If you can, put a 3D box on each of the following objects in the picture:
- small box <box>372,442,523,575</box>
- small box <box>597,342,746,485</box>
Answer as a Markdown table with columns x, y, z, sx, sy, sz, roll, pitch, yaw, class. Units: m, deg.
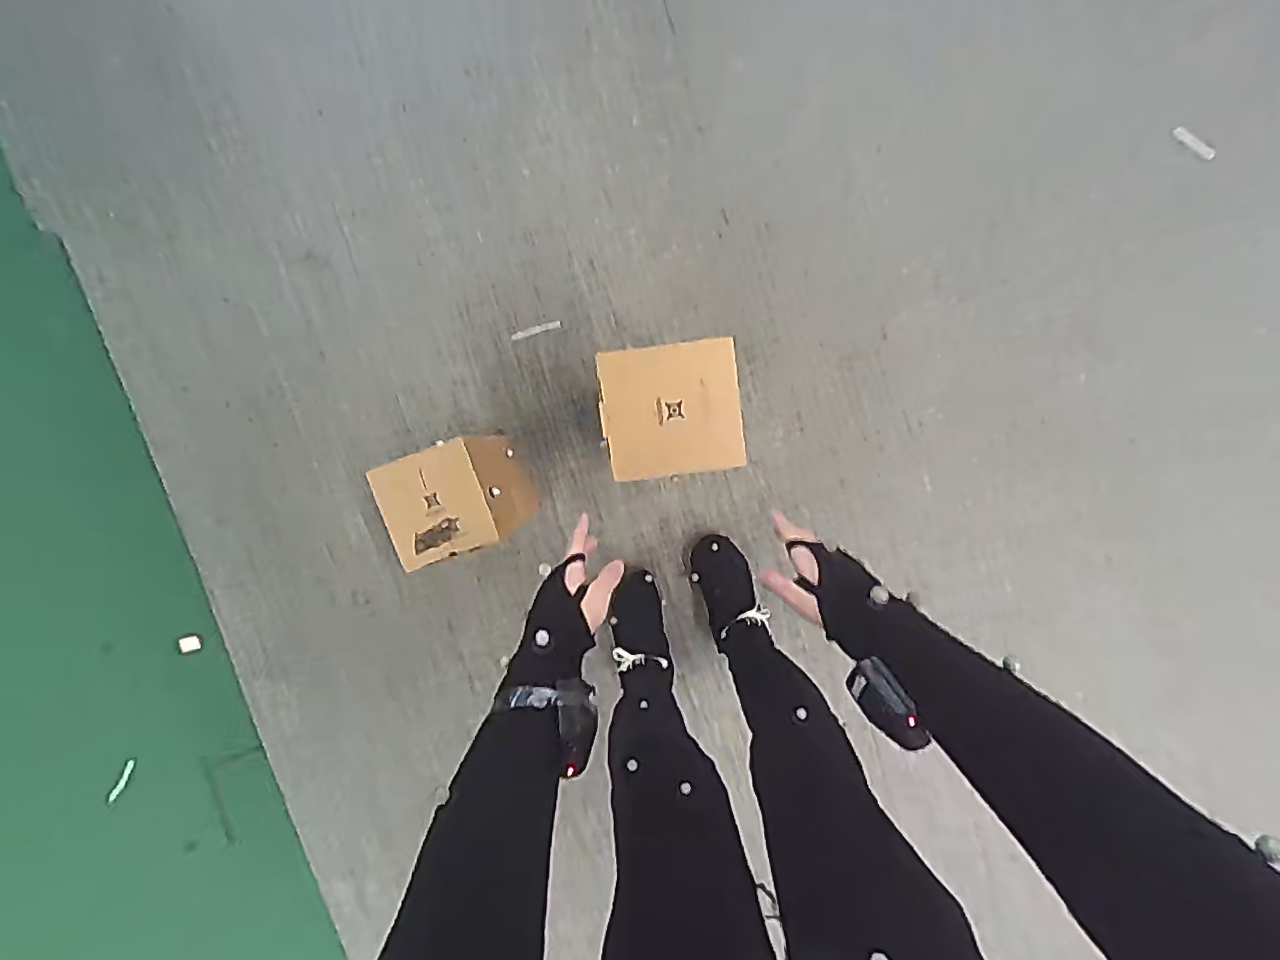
| x | y | z | sx | sy | sz | roll | pitch | yaw | class |
| --- | --- | --- | --- | --- | --- | --- | --- | --- | --- |
| -0.319 | 0.039 | 0.935 | 0.168 | 0.176 | 0.179 | -20 | 94 | 2 | small box |
| 0.042 | -0.090 | 0.759 | 0.179 | 0.176 | 0.168 | -7 | 96 | 1 | small box |
